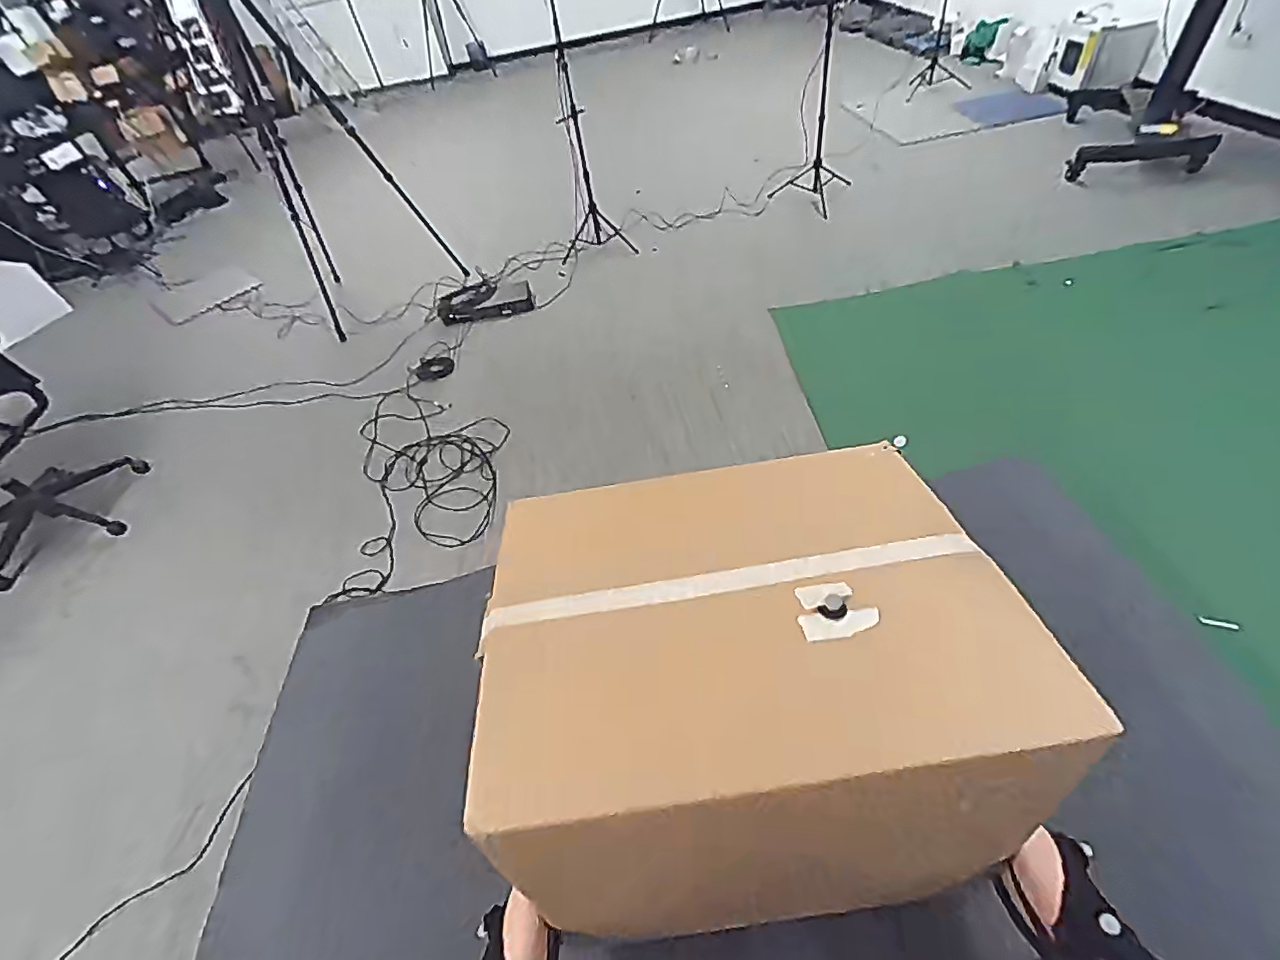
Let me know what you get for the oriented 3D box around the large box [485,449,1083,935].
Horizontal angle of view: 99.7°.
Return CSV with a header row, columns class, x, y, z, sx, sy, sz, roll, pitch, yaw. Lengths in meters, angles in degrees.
class,x,y,z,sx,sy,sz,roll,pitch,yaw
large box,0.094,0.205,0.553,0.408,0.320,0.320,-9,39,0
